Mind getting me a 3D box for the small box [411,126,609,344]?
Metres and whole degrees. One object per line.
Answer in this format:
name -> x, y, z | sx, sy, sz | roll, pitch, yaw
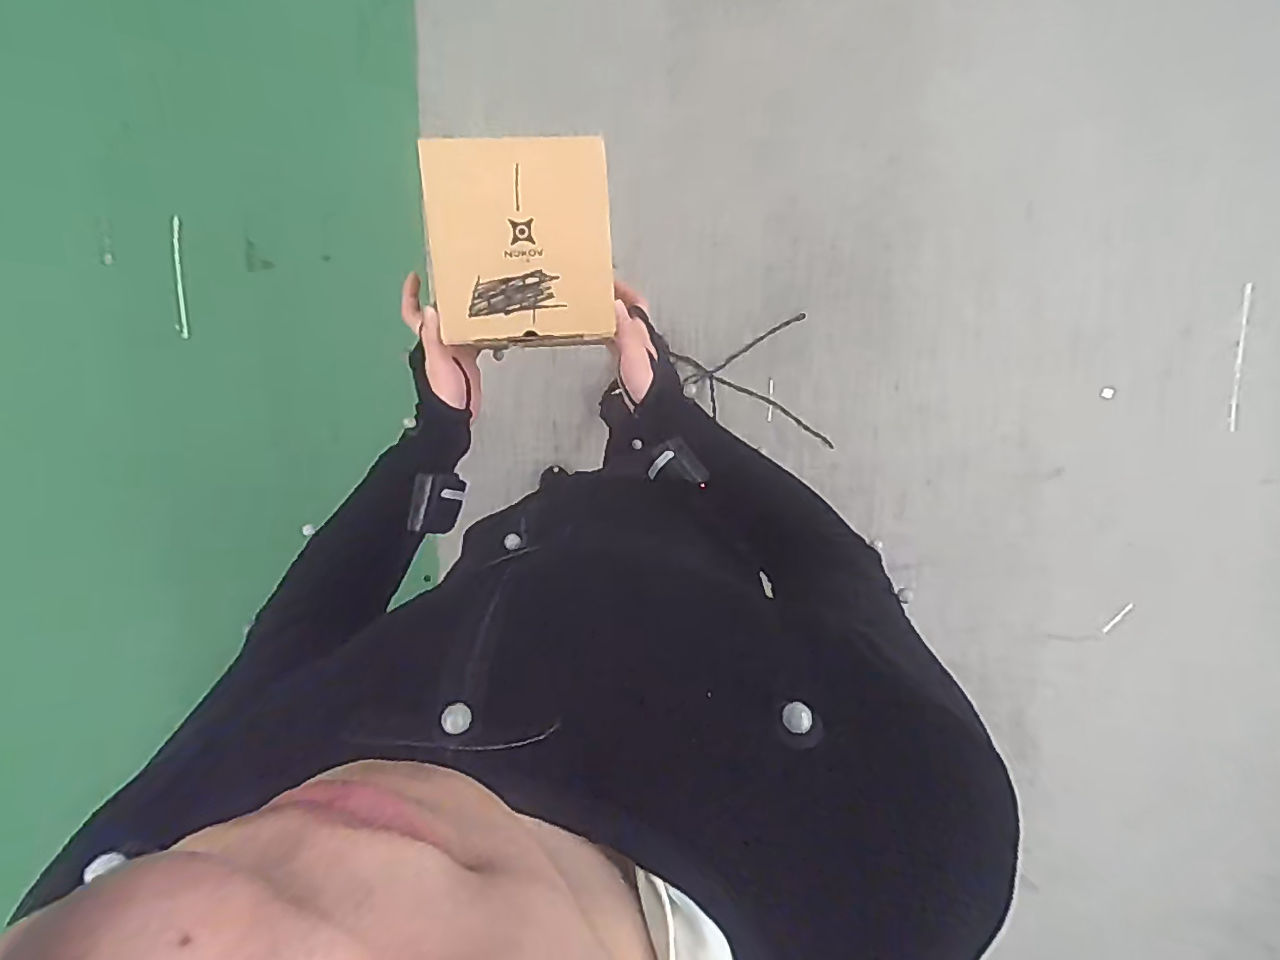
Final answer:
small box -> -0.120, -0.235, 0.560 | 0.168, 0.176, 0.179 | -4, 101, -6
